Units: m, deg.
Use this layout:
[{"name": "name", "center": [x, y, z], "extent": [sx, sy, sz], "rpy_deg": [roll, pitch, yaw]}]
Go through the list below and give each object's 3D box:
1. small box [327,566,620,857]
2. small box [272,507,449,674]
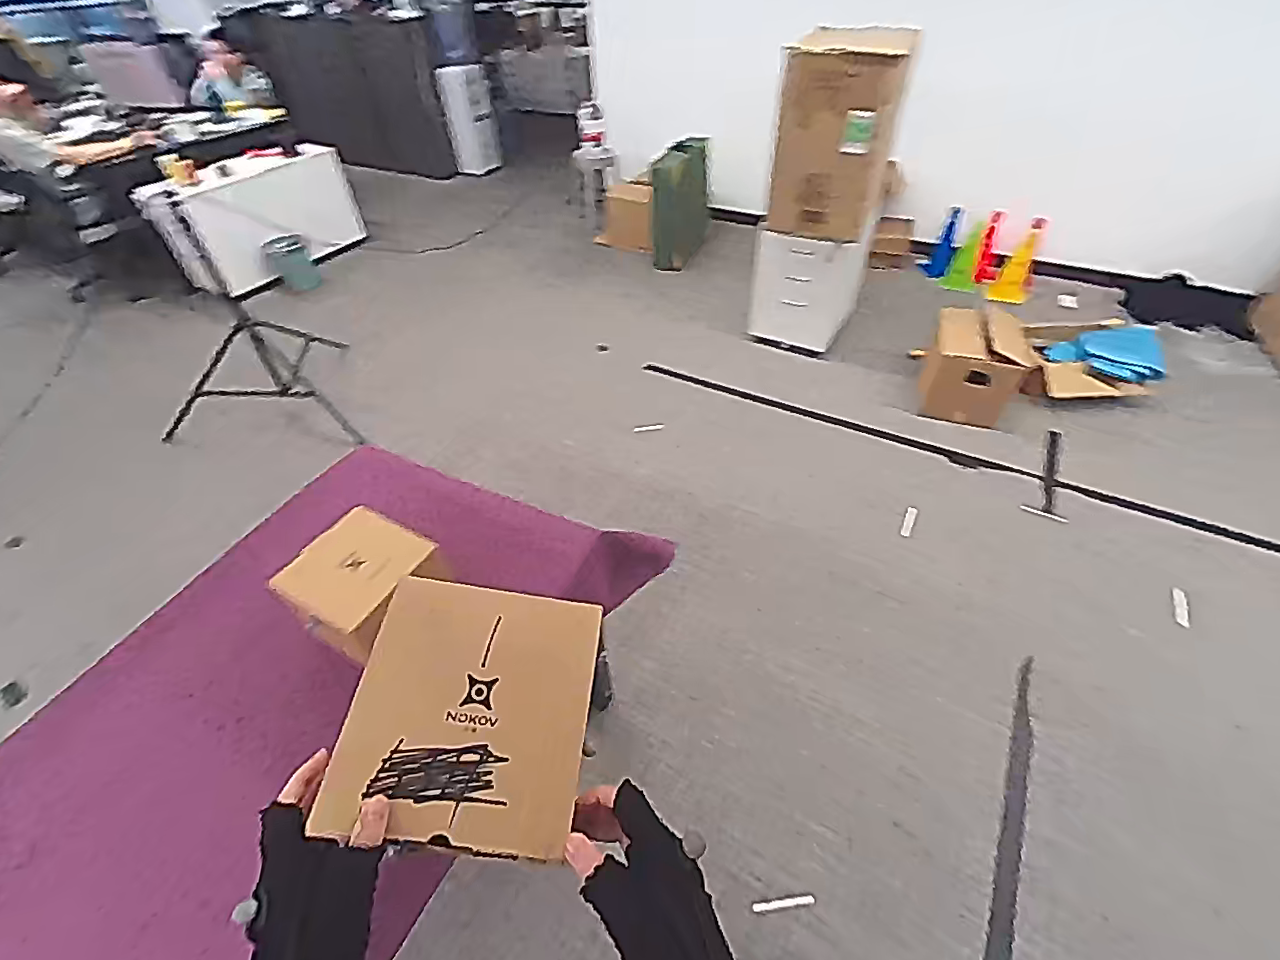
[{"name": "small box", "center": [-0.119, 0.199, 0.456], "extent": [0.168, 0.176, 0.179], "rpy_deg": [12, 54, -3]}, {"name": "small box", "center": [-0.413, 0.178, 0.847], "extent": [0.179, 0.176, 0.168], "rpy_deg": [21, 51, 20]}]
